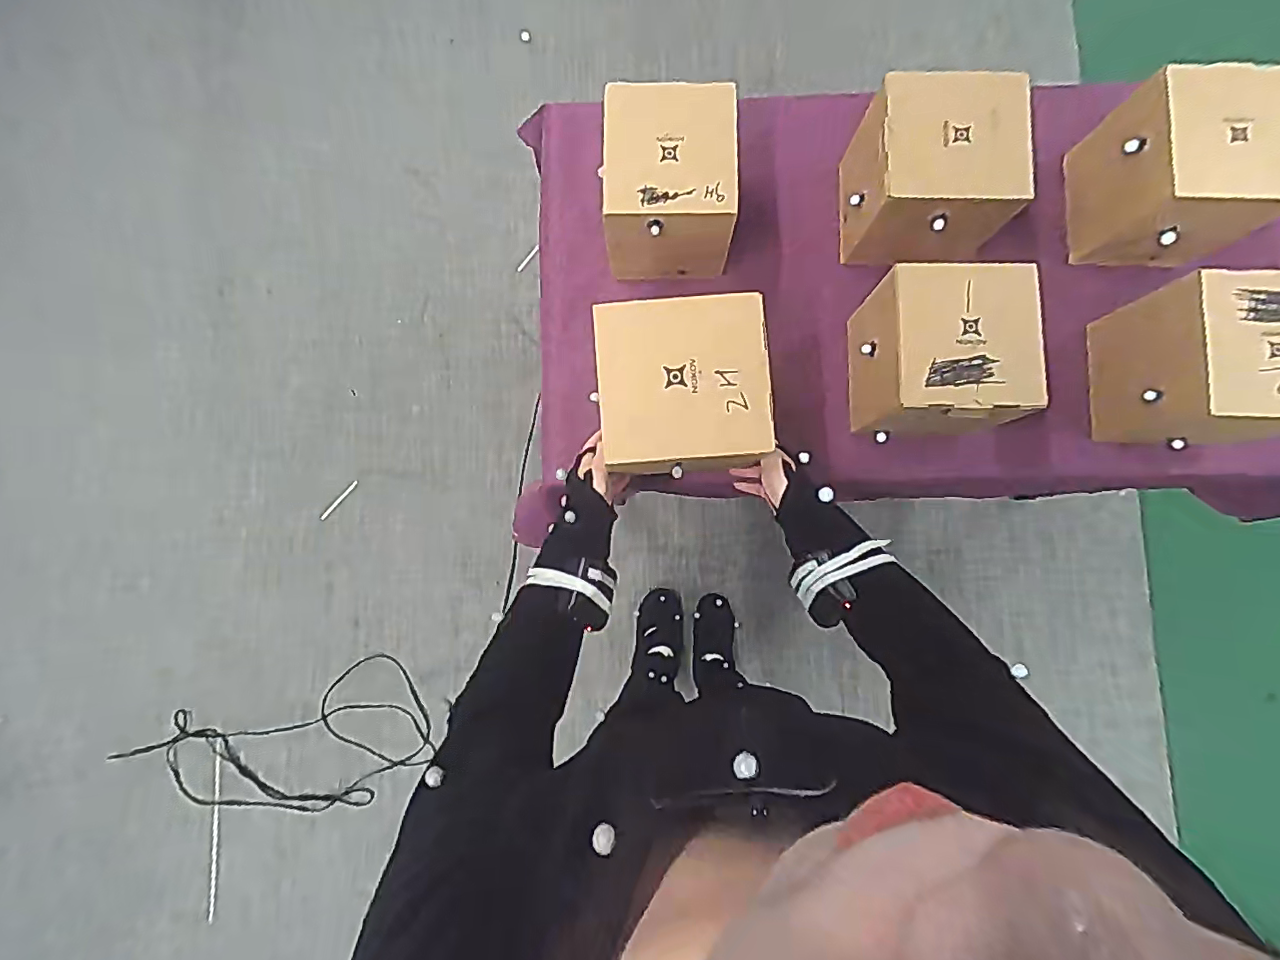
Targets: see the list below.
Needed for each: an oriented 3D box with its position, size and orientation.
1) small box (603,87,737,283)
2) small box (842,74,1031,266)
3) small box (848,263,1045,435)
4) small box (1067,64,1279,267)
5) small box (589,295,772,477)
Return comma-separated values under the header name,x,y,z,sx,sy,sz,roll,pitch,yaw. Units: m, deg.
name,x,y,z,sx,sy,sz,roll,pitch,yaw
small box,0.039,-0.394,0.743,0.168,0.176,0.179,0,83,2
small box,0.384,-0.405,0.732,0.179,0.176,0.168,2,84,2
small box,0.380,-0.157,0.701,0.168,0.176,0.179,1,82,2
small box,0.712,-0.403,0.719,0.168,0.176,0.179,2,83,3
small box,0.041,-0.095,0.619,0.179,0.176,0.168,-4,86,0
